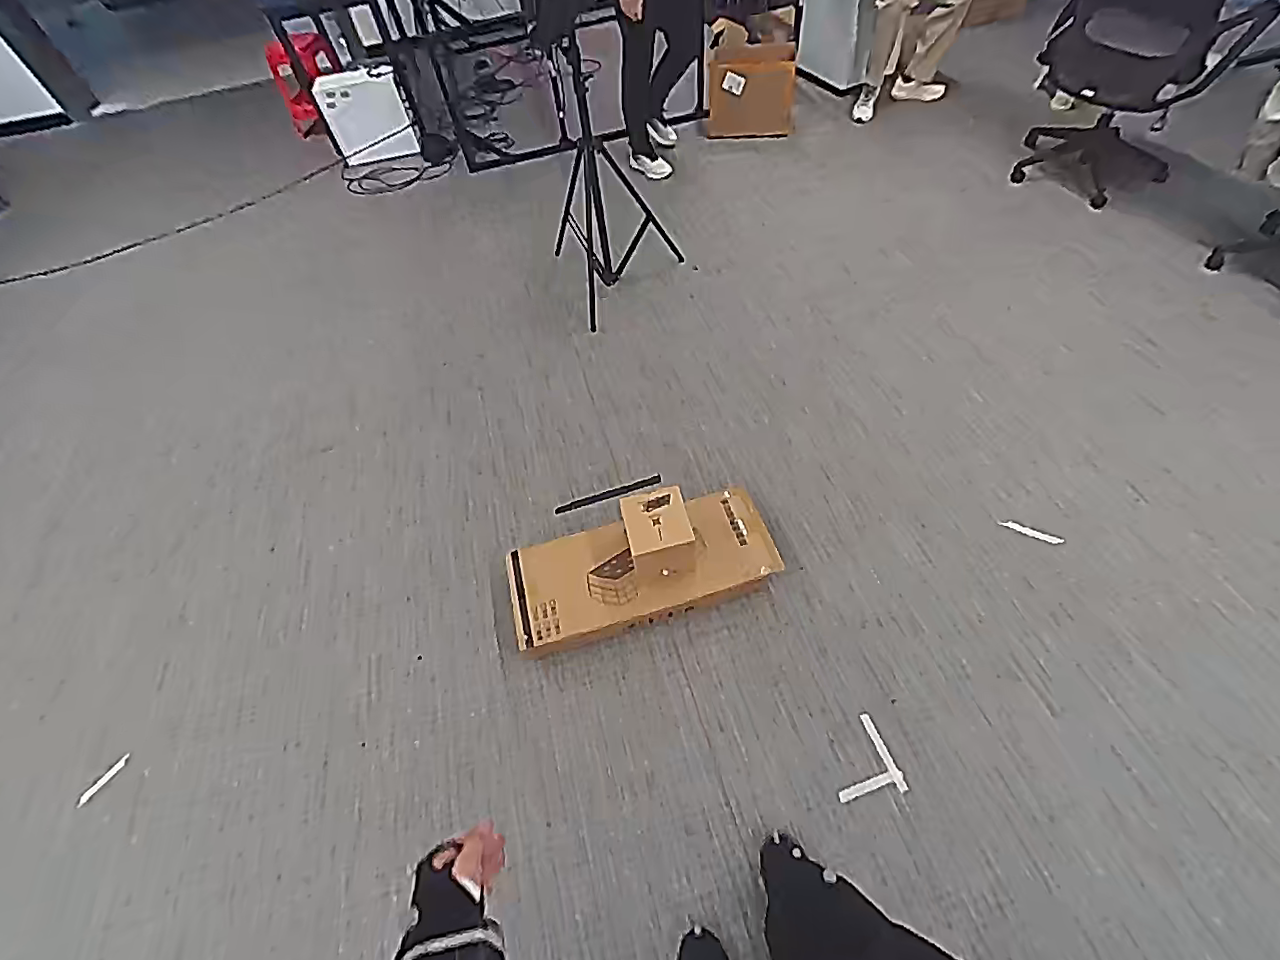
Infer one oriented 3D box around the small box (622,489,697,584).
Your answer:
[{"bbox_3d":[0.052,0.155,1.462,0.168,0.176,0.179,-13,55,-2],"label":"small box"}]
